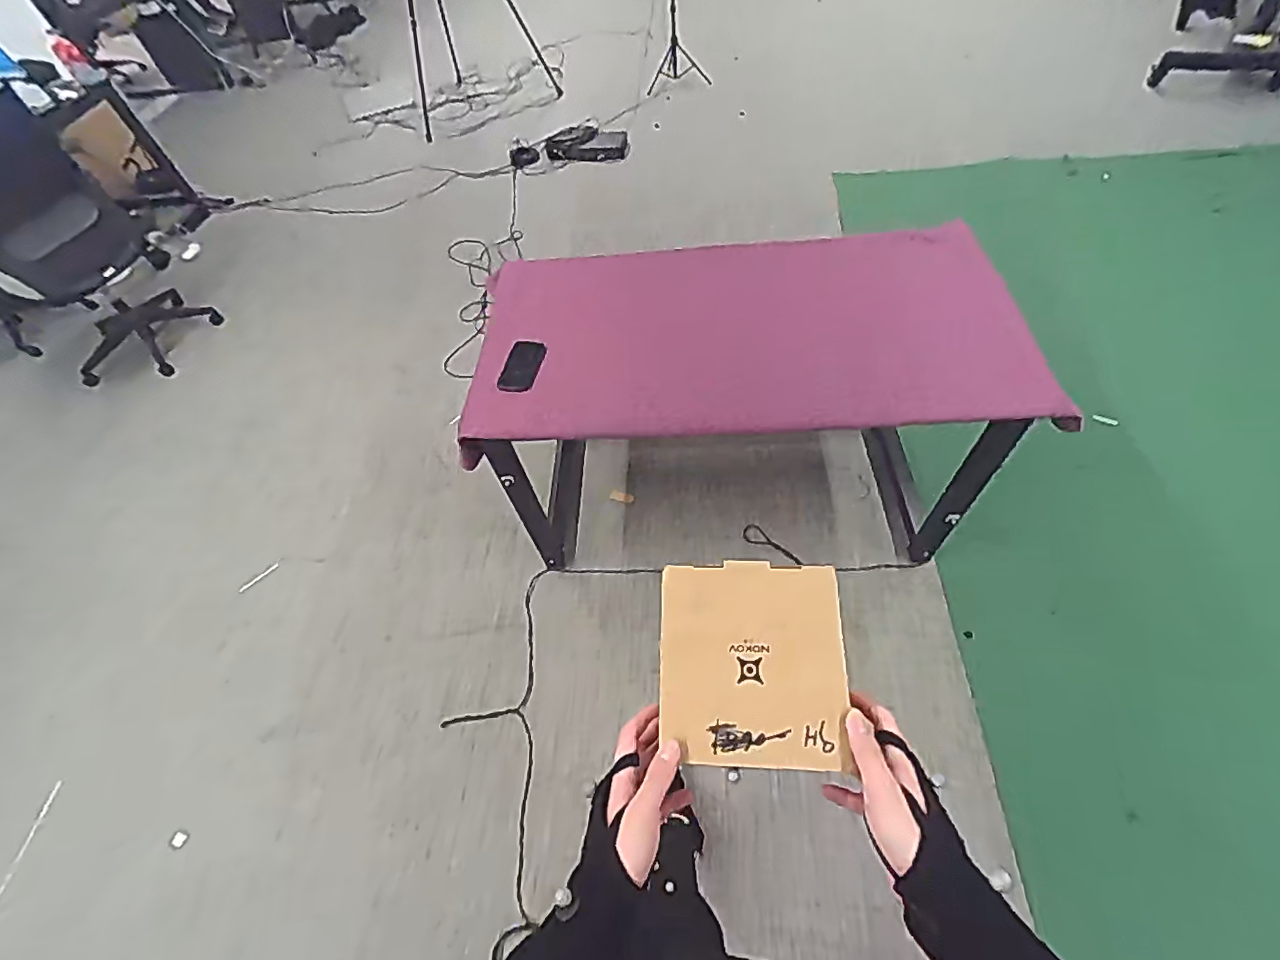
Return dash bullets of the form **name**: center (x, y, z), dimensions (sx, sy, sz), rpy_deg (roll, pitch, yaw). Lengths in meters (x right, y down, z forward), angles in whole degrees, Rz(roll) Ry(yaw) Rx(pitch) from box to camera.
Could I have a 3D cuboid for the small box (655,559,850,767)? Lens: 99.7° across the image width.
- **small box**: center (0.108, 0.188, 0.560), dimensions (0.168, 0.176, 0.179), rpy_deg (-1, 67, 9)
